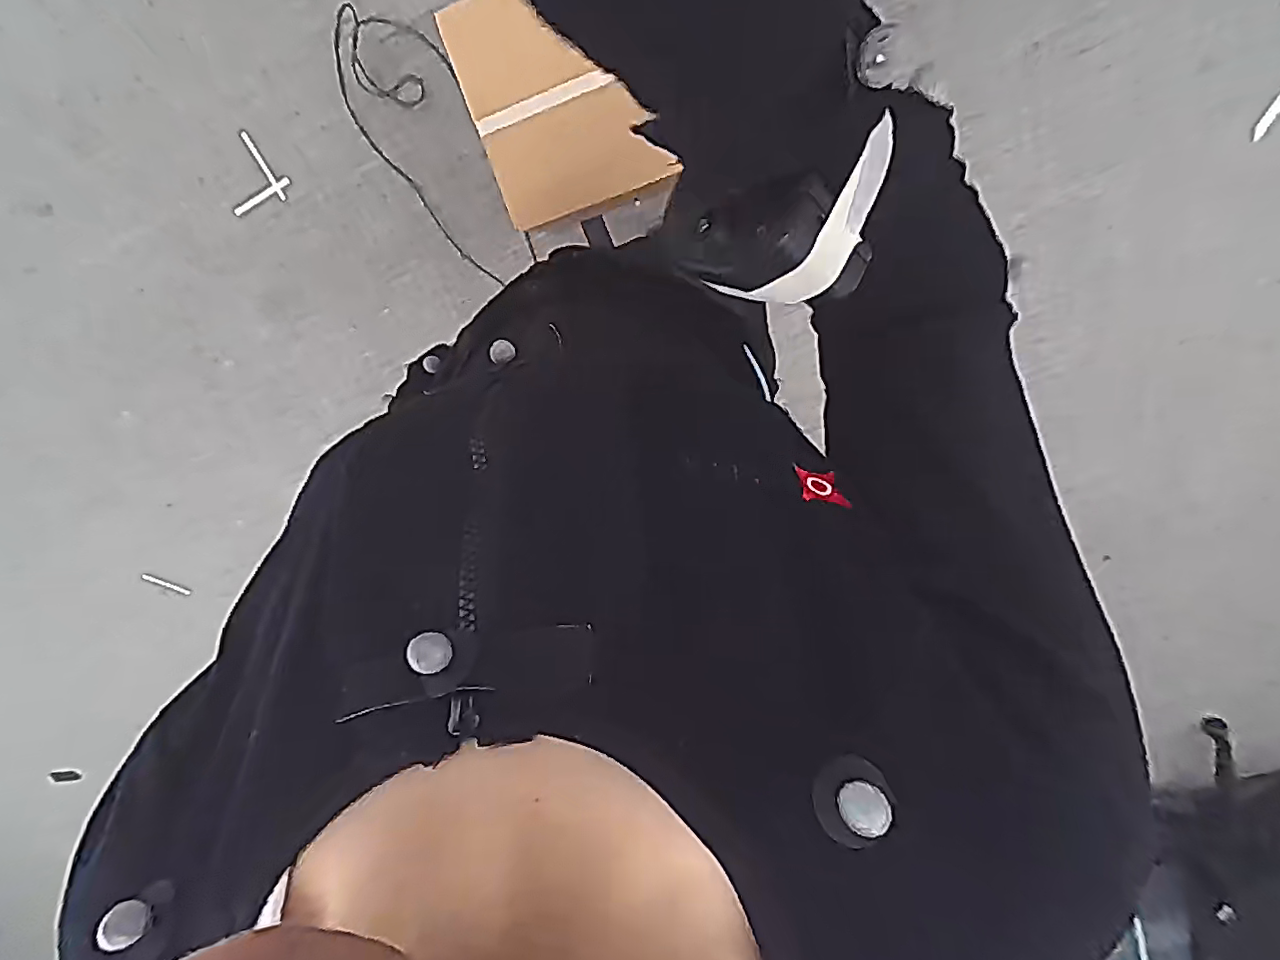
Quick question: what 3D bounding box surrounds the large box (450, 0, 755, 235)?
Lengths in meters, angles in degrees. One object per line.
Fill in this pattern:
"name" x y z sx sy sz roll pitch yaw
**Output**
"large box" -0.047 -0.662 0.961 0.408 0.320 0.320 -16 113 9
